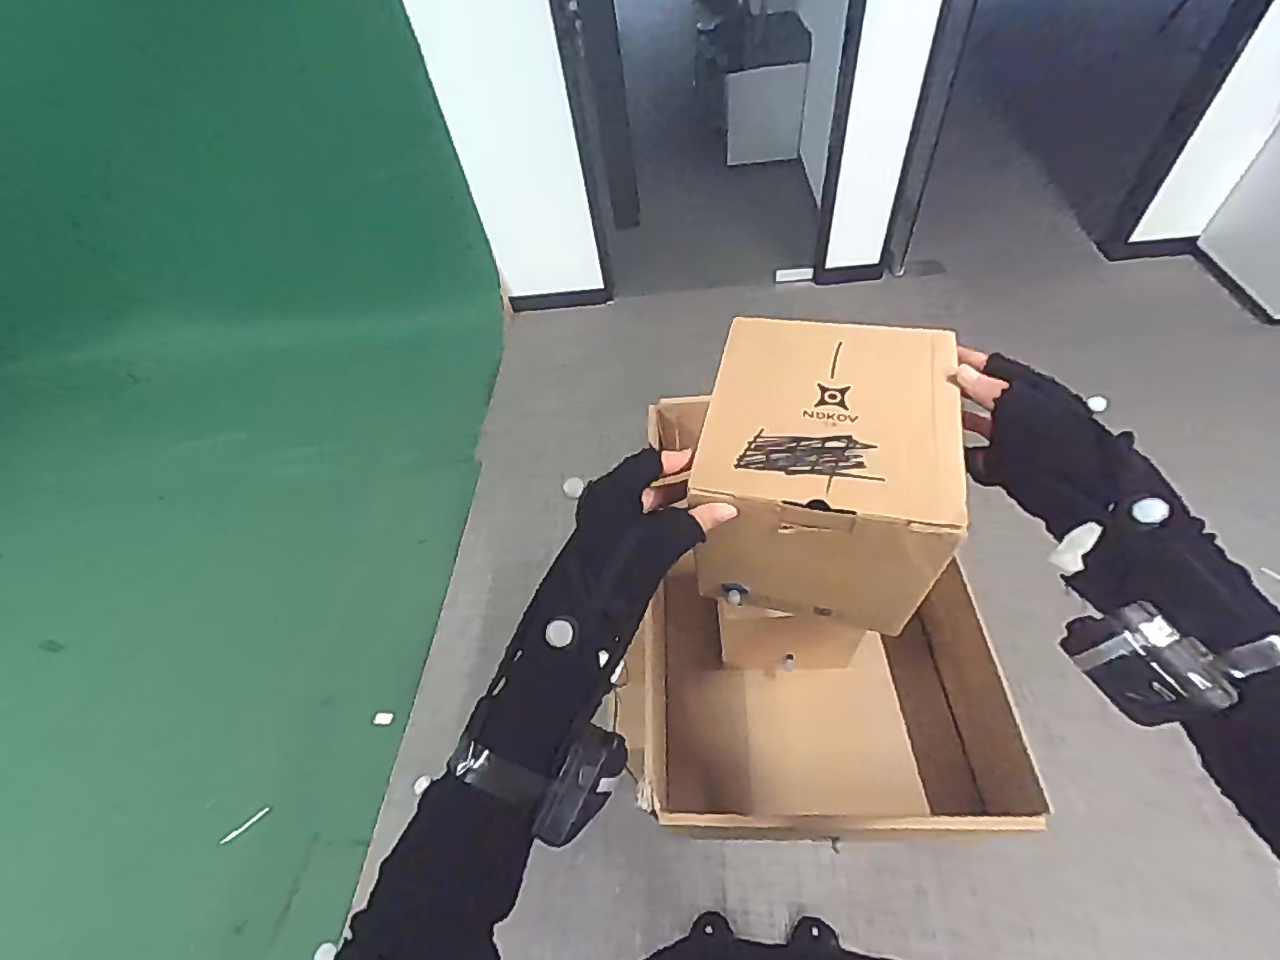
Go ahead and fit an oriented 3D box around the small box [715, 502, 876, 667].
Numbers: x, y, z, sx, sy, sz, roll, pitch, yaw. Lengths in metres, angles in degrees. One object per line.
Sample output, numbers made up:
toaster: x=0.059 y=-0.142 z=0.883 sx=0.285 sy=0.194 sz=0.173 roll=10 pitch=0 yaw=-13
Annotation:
small box: x=0.196 y=0.146 z=0.742 sx=0.179 sy=0.176 sz=0.168 roll=-2 pitch=50 yaw=5
